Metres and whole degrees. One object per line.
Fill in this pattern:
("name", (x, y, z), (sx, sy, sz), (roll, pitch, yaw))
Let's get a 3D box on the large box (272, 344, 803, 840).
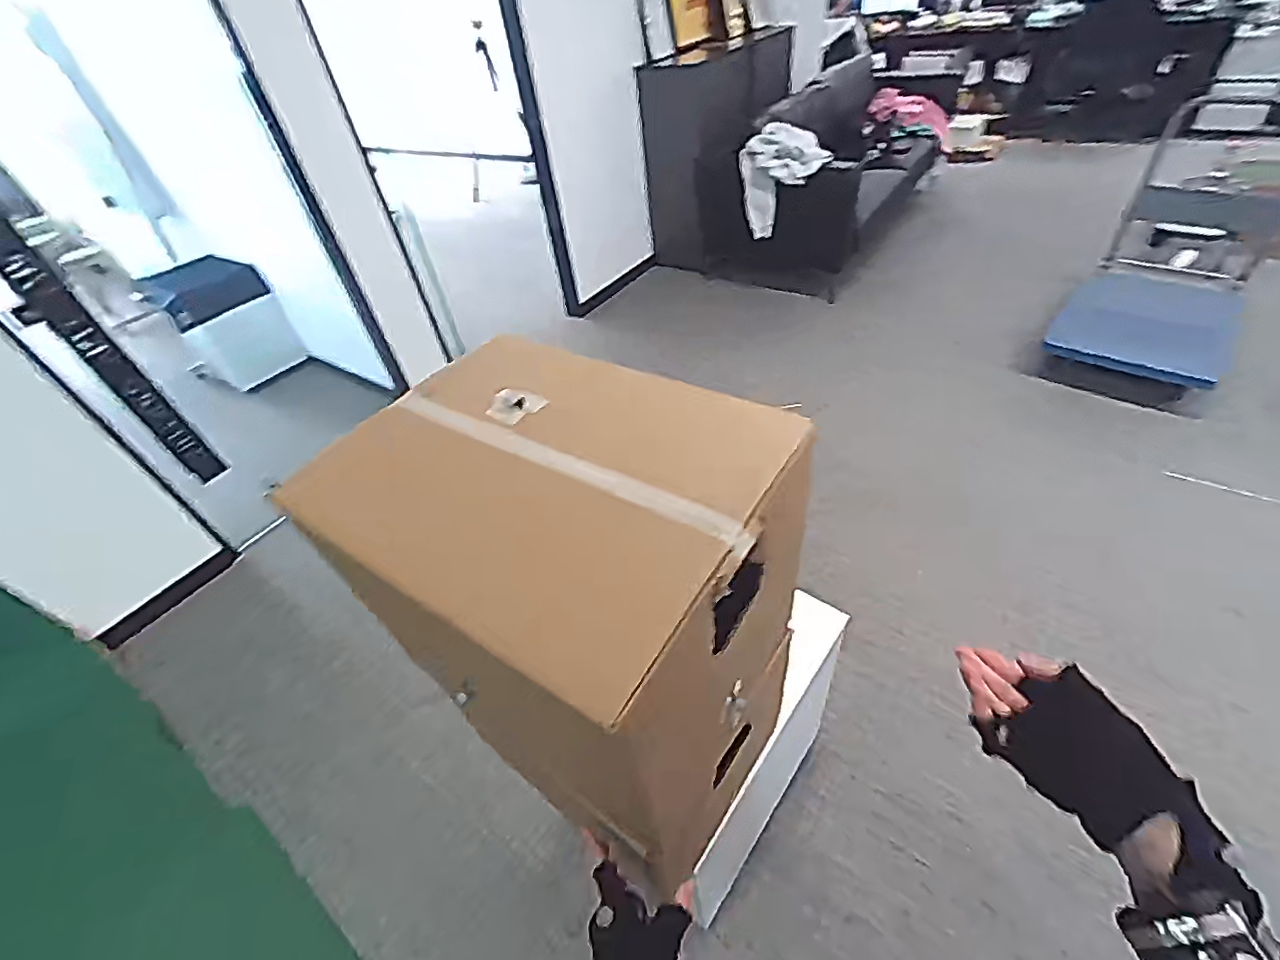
("large box", (-0.075, 0.094, 0.590), (0.408, 0.320, 0.320), (21, 52, 30))
